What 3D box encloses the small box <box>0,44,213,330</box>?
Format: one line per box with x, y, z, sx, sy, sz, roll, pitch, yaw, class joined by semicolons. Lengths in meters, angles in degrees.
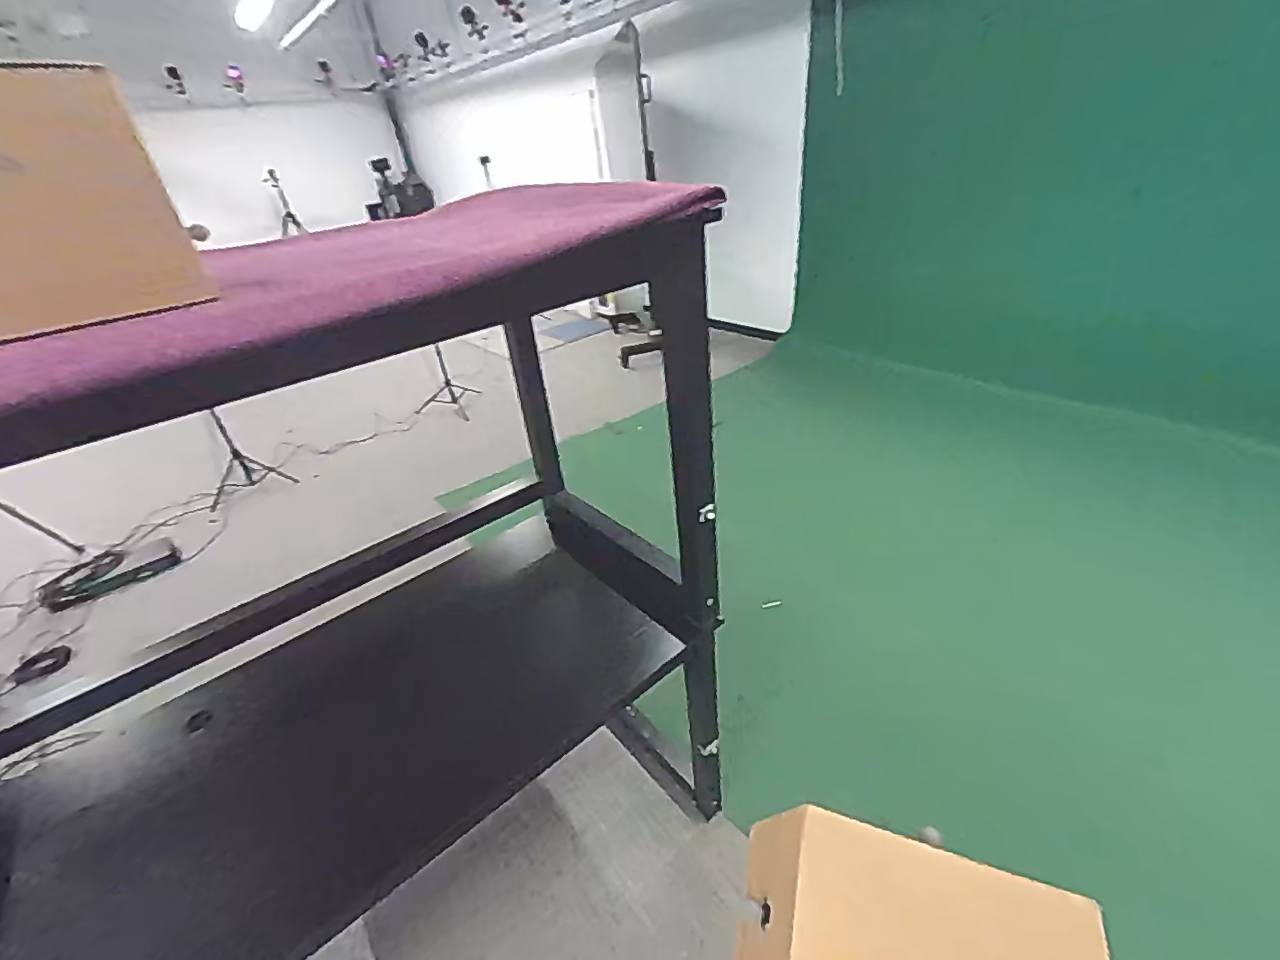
-0.491;-0.226;0.437;0.179;0.176;0.168;-27;36;-29;small box
